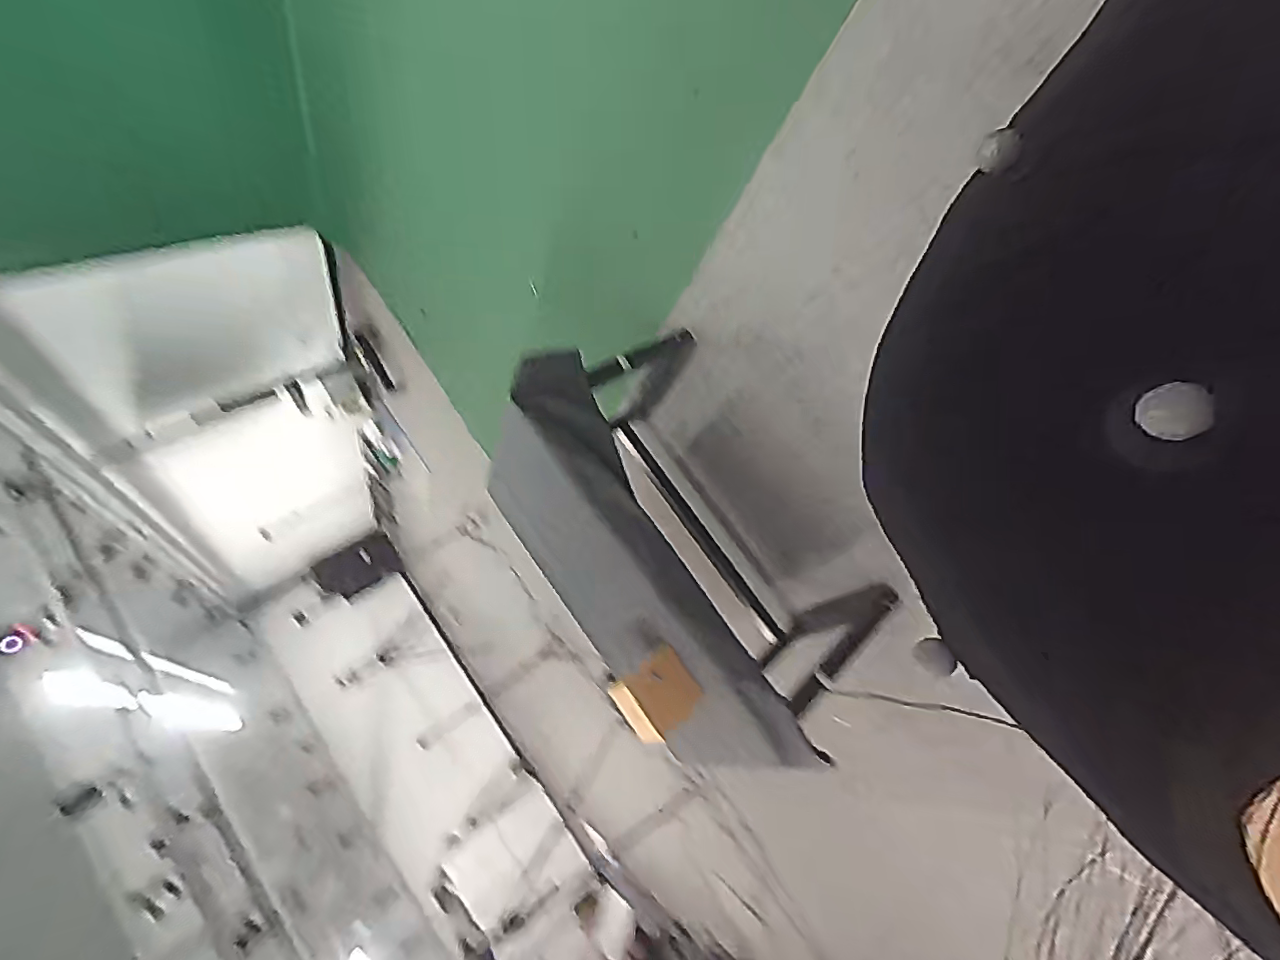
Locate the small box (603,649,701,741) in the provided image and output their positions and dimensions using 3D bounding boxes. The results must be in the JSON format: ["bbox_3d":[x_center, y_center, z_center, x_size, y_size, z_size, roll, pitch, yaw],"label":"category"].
[{"bbox_3d":[0.032,0.584,1.483,0.179,0.176,0.168,52,149,9],"label":"small box"}]
